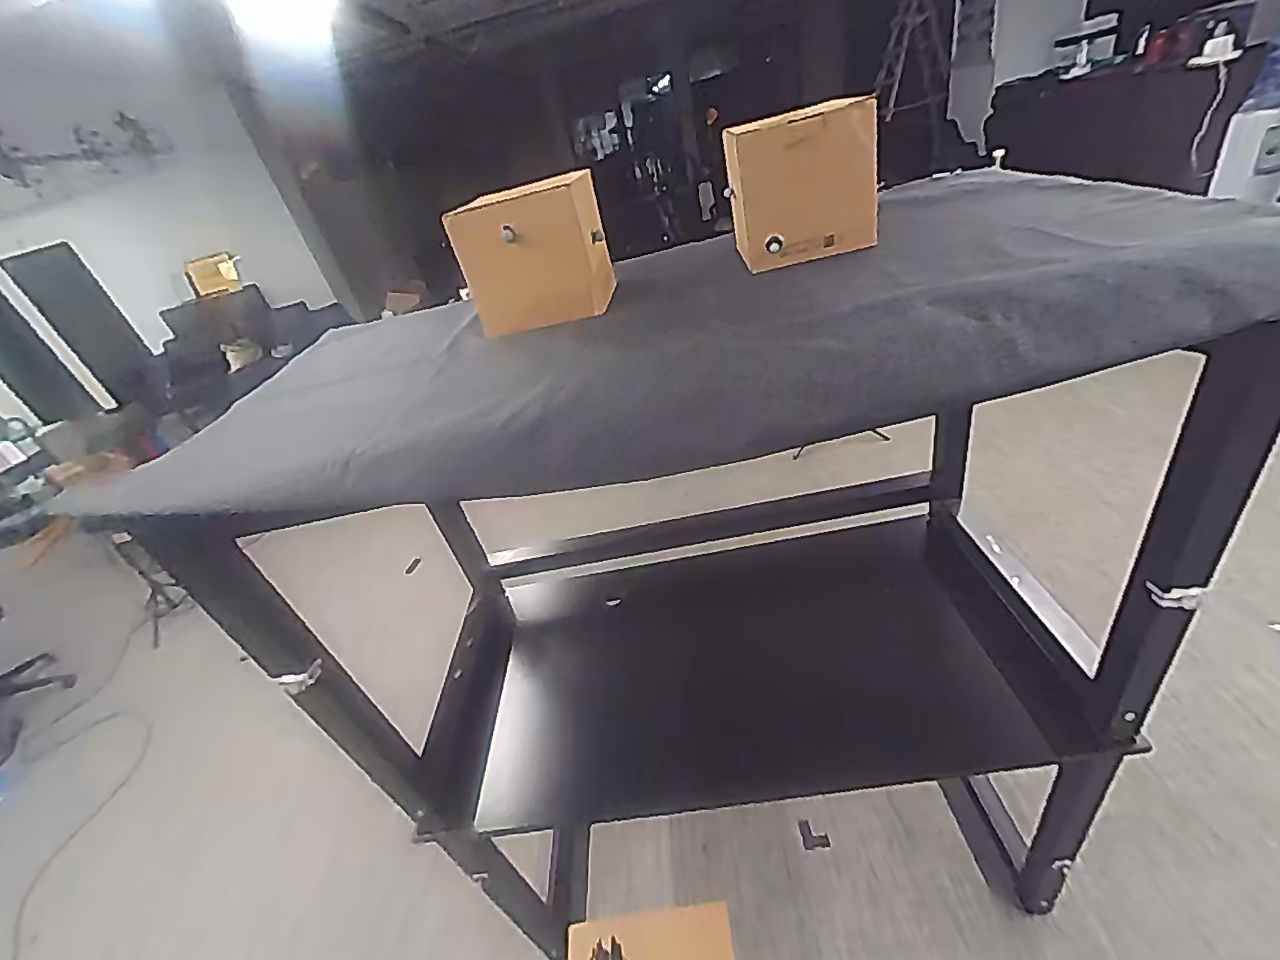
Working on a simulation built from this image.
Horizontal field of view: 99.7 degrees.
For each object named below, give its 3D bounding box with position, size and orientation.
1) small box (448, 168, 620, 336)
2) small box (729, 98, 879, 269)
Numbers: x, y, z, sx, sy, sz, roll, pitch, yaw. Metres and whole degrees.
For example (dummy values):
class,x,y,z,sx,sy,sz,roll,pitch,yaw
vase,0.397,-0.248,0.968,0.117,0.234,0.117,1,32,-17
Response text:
class,x,y,z,sx,sy,sz,roll,pitch,yaw
small box,-0.135,-0.325,0.775,0.179,0.176,0.168,-8,34,11
small box,0.222,-0.404,0.746,0.168,0.176,0.179,-9,33,9
